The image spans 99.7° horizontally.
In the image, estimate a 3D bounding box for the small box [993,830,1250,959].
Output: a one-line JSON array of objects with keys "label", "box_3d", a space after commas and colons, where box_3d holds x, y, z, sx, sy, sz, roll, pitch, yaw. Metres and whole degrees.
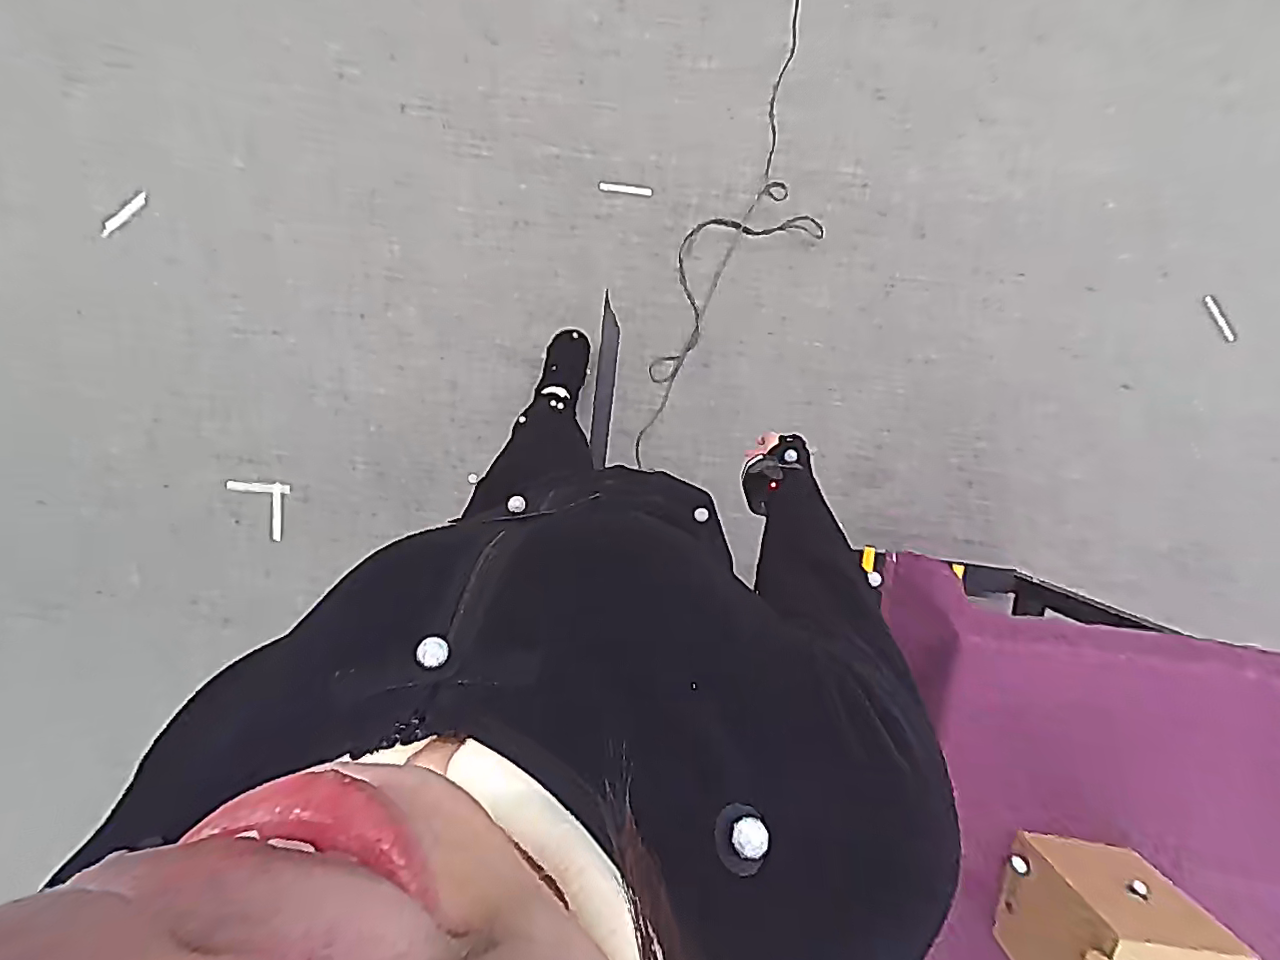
[{"label": "small box", "box_3d": [0.614, 0.603, 0.716, 0.179, 0.176, 0.168, 10, 95, -2]}]
